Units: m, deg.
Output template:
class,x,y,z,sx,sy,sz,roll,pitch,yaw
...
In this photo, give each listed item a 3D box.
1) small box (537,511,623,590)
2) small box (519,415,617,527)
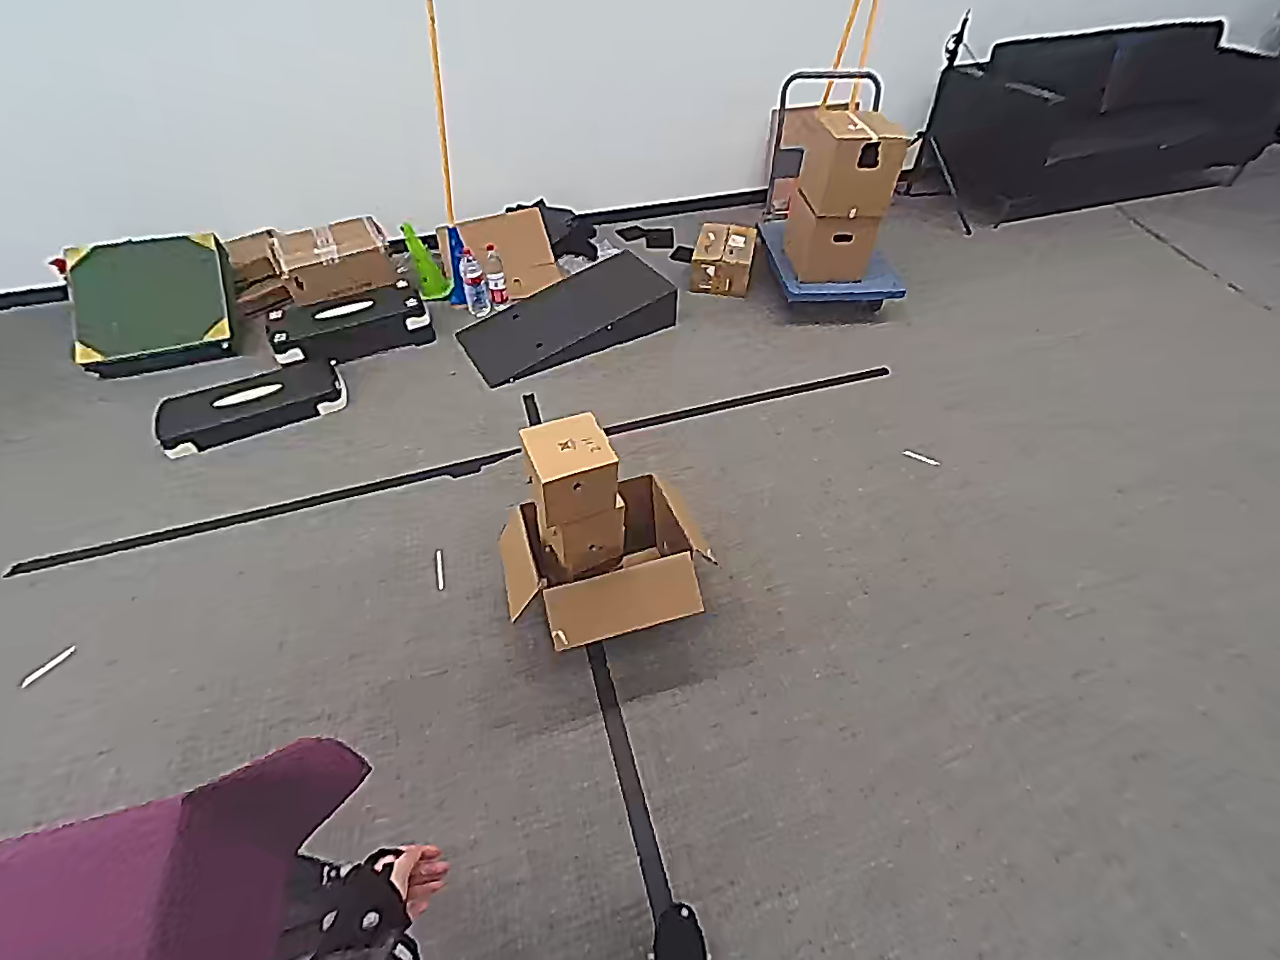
class,x,y,z,sx,sy,sz,roll,pitch,yaw
small box,-0.164,0.174,1.506,0.179,0.176,0.168,-29,57,-27
small box,-0.163,-0.017,1.236,0.179,0.176,0.168,-17,54,-19
